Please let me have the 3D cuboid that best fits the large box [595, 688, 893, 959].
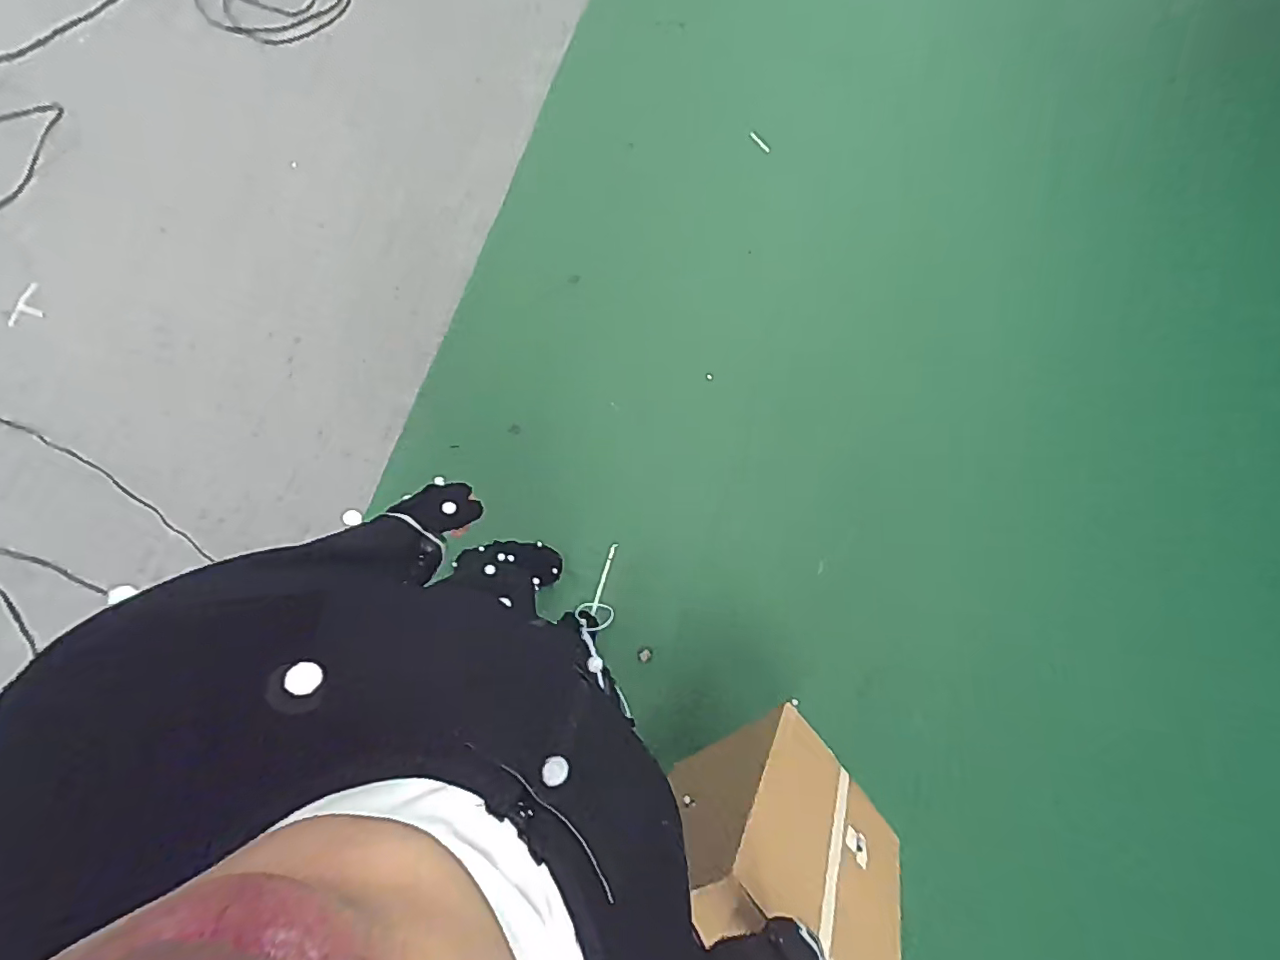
[{"bbox_3d":[0.194,0.650,0.917,0.320,0.408,0.320,-42,82,25],"label":"large box"}]
